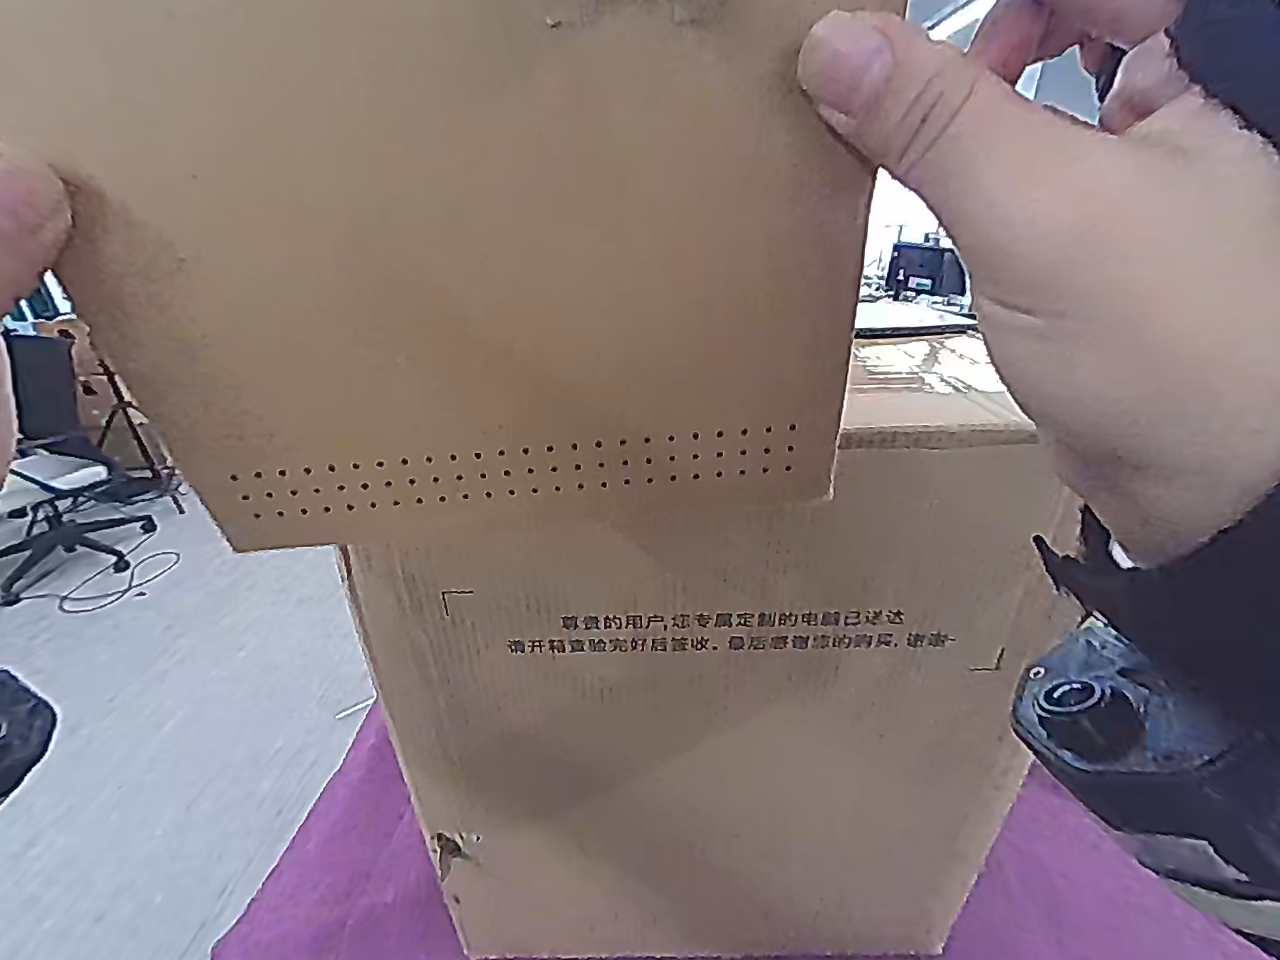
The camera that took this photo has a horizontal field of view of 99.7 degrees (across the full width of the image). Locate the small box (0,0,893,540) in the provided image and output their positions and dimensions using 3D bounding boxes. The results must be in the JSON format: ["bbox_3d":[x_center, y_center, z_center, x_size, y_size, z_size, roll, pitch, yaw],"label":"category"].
[{"bbox_3d":[-0.039,-0.098,0.179,0.179,0.176,0.168,-5,34,0],"label":"small box"}]
